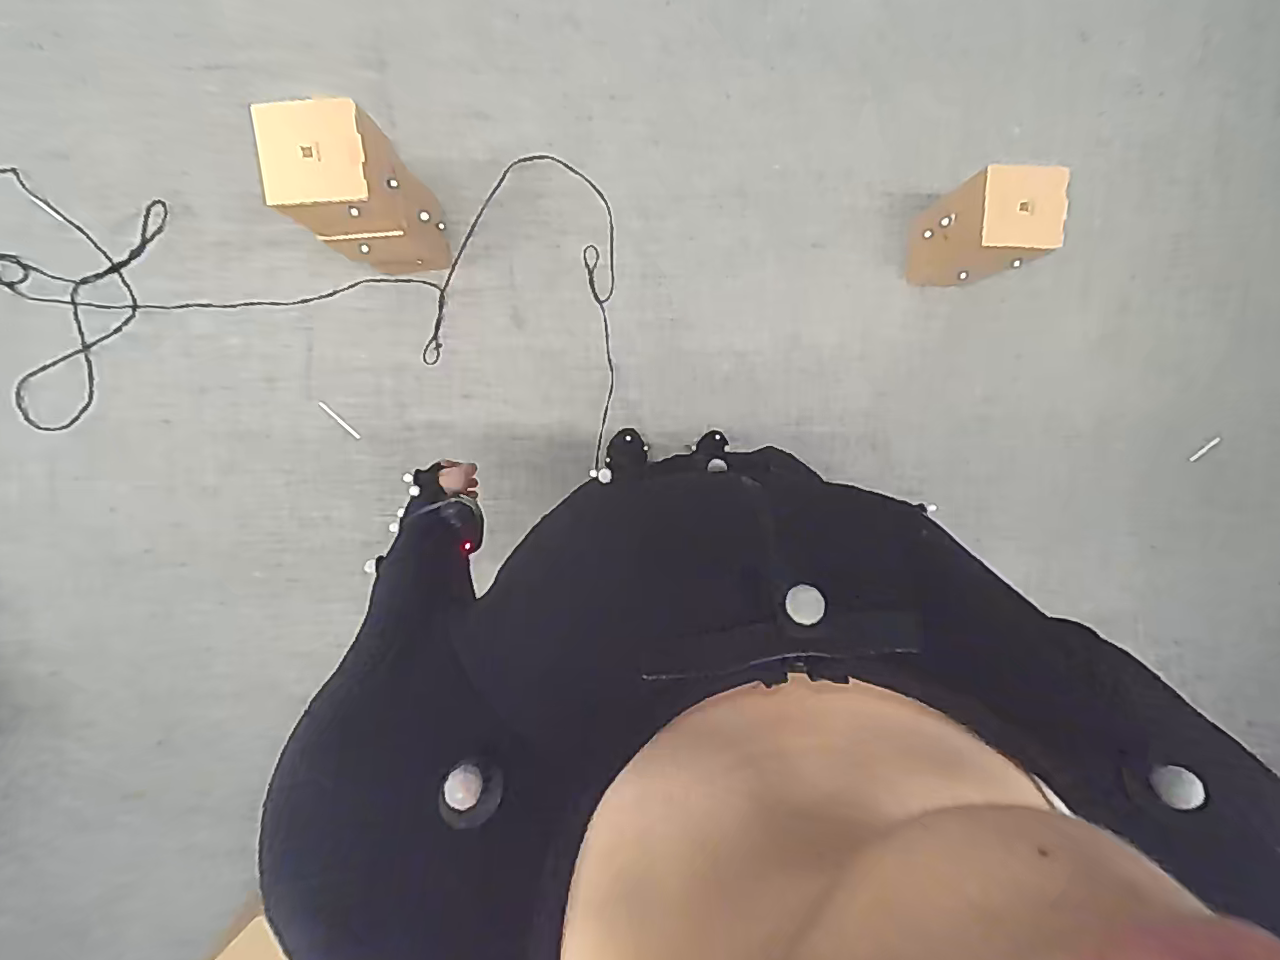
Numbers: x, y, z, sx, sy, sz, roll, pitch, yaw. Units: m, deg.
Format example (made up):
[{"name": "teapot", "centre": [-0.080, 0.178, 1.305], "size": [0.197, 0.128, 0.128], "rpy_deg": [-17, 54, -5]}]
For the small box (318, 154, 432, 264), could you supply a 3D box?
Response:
[{"name": "small box", "centre": [-0.571, -0.575, 1.165], "size": [0.179, 0.176, 0.168], "rpy_deg": [-5, 97, -2]}]

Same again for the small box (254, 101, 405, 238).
[{"name": "small box", "centre": [-0.563, -0.563, 1.002], "size": [0.179, 0.176, 0.168], "rpy_deg": [-6, 96, -2]}]

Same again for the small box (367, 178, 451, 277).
[{"name": "small box", "centre": [-0.579, -0.610, 1.325], "size": [0.179, 0.176, 0.168], "rpy_deg": [-8, 96, 0]}]

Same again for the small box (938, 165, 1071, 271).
[{"name": "small box", "centre": [0.797, -0.571, 1.197], "size": [0.179, 0.176, 0.168], "rpy_deg": [1, 95, 0]}]

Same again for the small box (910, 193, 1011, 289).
[{"name": "small box", "centre": [0.803, -0.595, 1.359], "size": [0.168, 0.176, 0.179], "rpy_deg": [0, 96, -1]}]
